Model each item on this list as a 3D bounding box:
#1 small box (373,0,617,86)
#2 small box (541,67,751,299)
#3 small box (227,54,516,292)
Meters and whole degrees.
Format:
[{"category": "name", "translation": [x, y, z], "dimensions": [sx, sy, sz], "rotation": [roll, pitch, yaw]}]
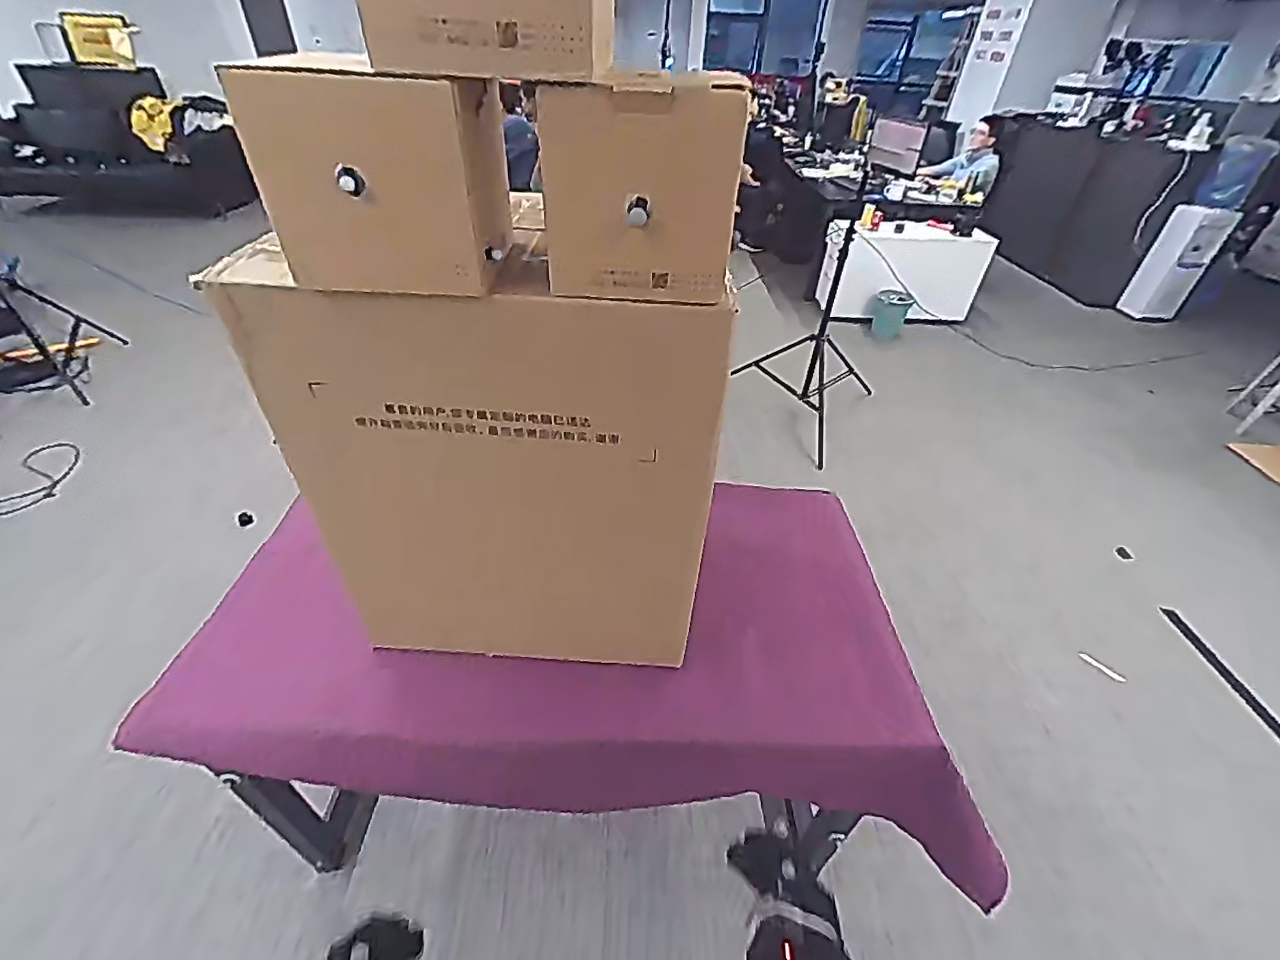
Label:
[{"category": "small box", "translation": [-0.104, -0.413, 0.416], "dimensions": [0.168, 0.176, 0.179], "rotation": [4, 39, 0]}, {"category": "small box", "translation": [0.008, -0.289, 0.526], "dimensions": [0.168, 0.176, 0.179], "rotation": [4, 41, 1]}, {"category": "small box", "translation": [-0.222, -0.288, 0.512], "dimensions": [0.179, 0.176, 0.168], "rotation": [1, 40, -1]}]
